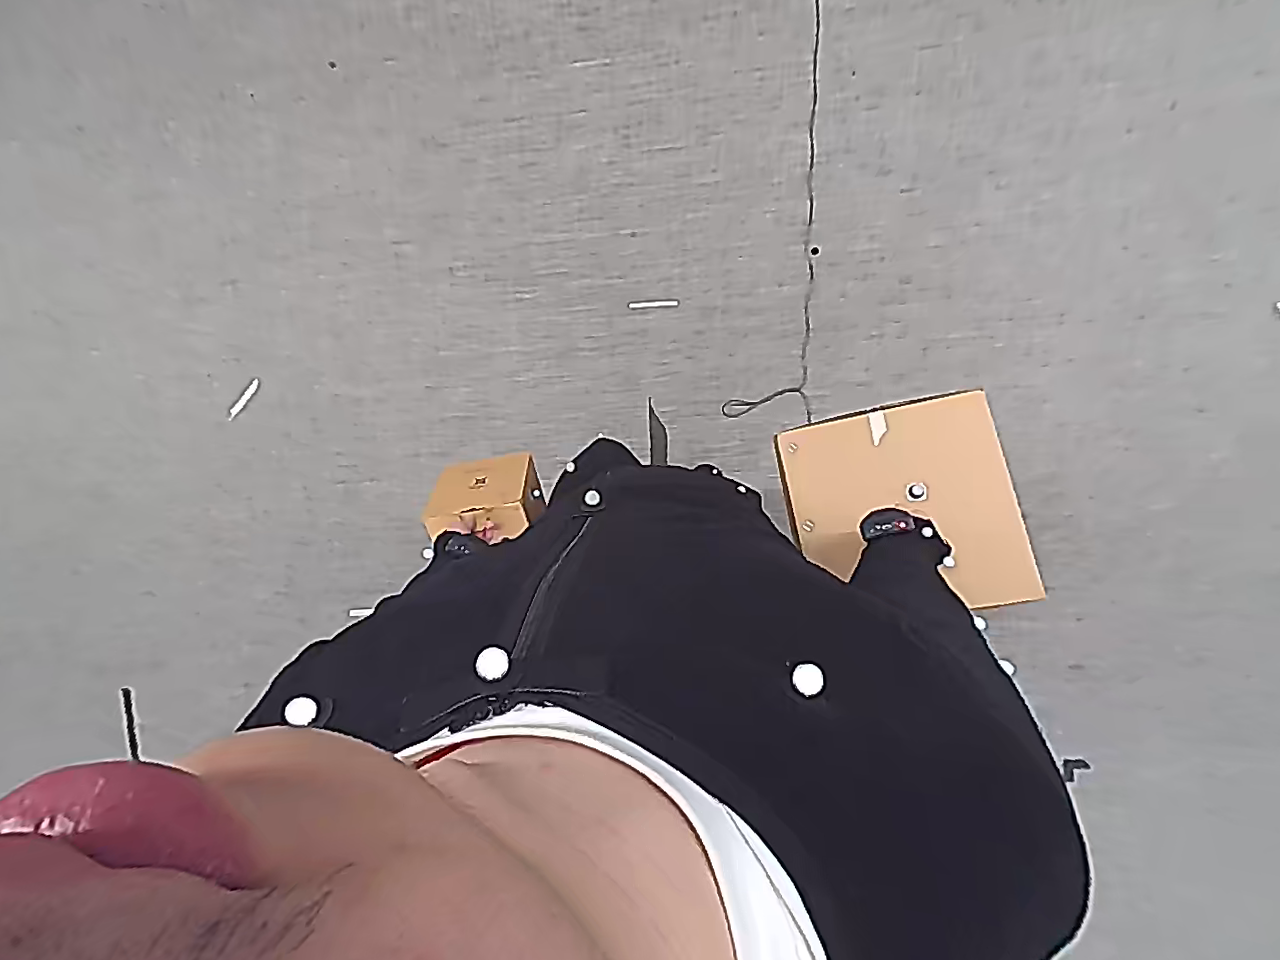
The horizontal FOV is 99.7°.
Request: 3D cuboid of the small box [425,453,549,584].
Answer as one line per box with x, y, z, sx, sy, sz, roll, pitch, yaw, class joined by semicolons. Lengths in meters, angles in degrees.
-0.270;0.075;1.000;0.168;0.179;0.176;-10;122;0;small box
